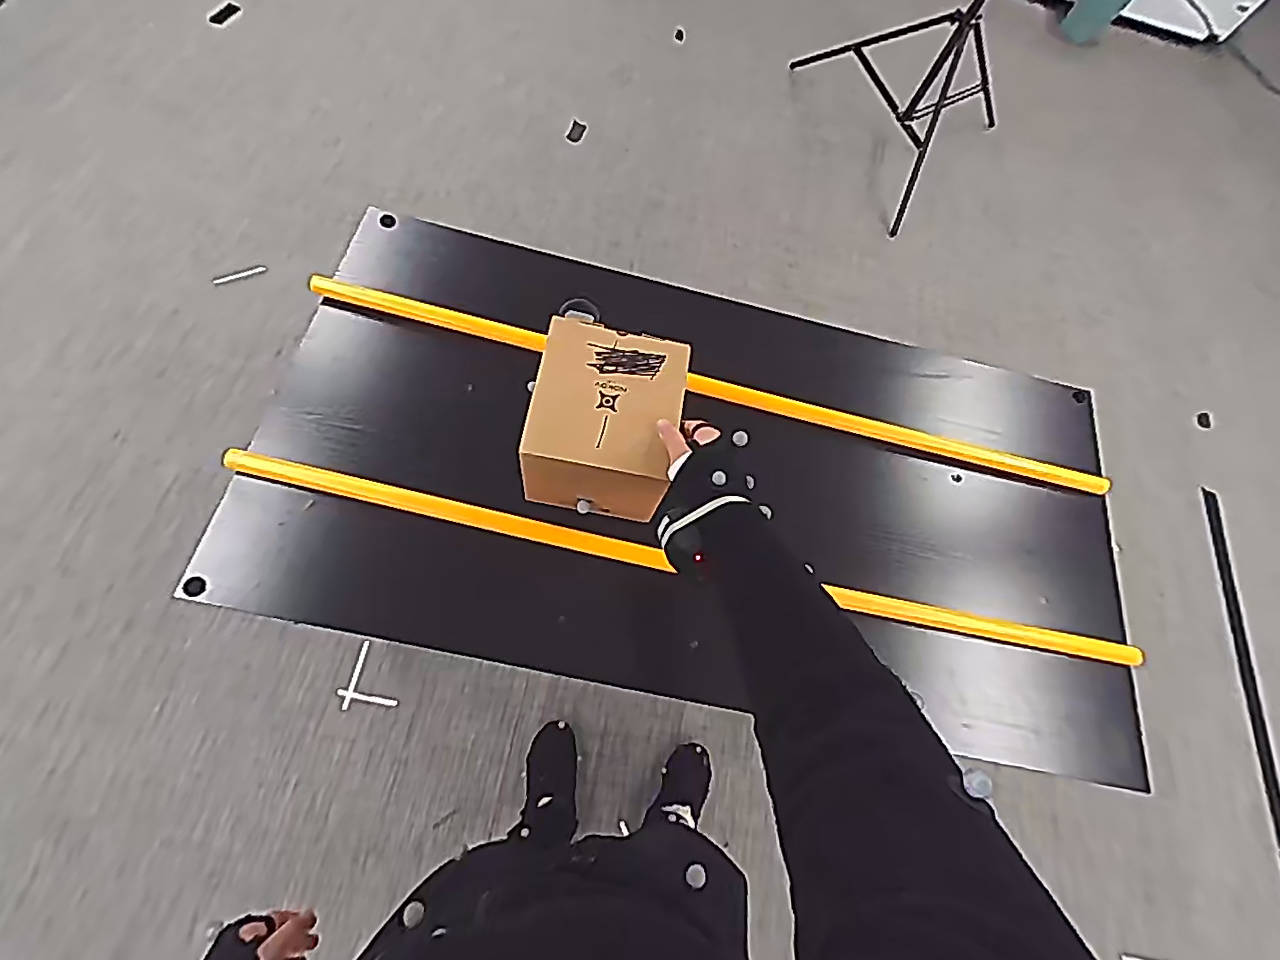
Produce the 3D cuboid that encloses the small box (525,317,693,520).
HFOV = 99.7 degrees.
[{"bbox_3d":[-0.041,-0.066,0.674,0.168,0.176,0.179,11,69,-4],"label":"small box"}]
